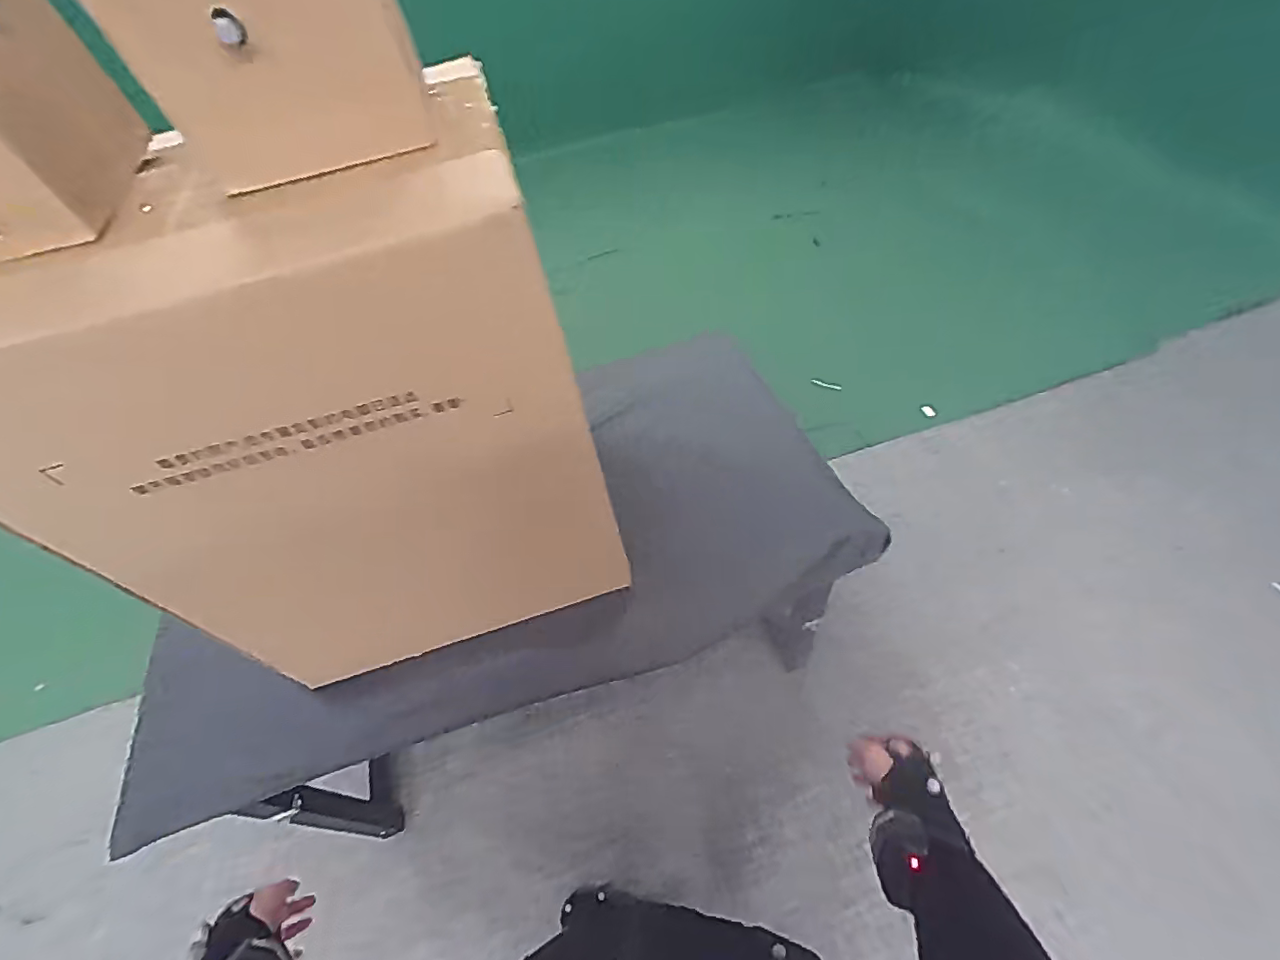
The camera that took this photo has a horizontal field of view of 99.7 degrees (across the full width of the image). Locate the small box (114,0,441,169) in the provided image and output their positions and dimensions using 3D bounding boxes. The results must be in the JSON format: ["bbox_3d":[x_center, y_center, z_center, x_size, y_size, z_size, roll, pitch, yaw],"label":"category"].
[{"bbox_3d":[-0.275,-0.369,0.412,0.179,0.176,0.168,-18,57,-5],"label":"small box"}]

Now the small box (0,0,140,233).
[{"bbox_3d":[-0.520,-0.290,0.384,0.168,0.176,0.179,-13,55,-5],"label":"small box"}]
